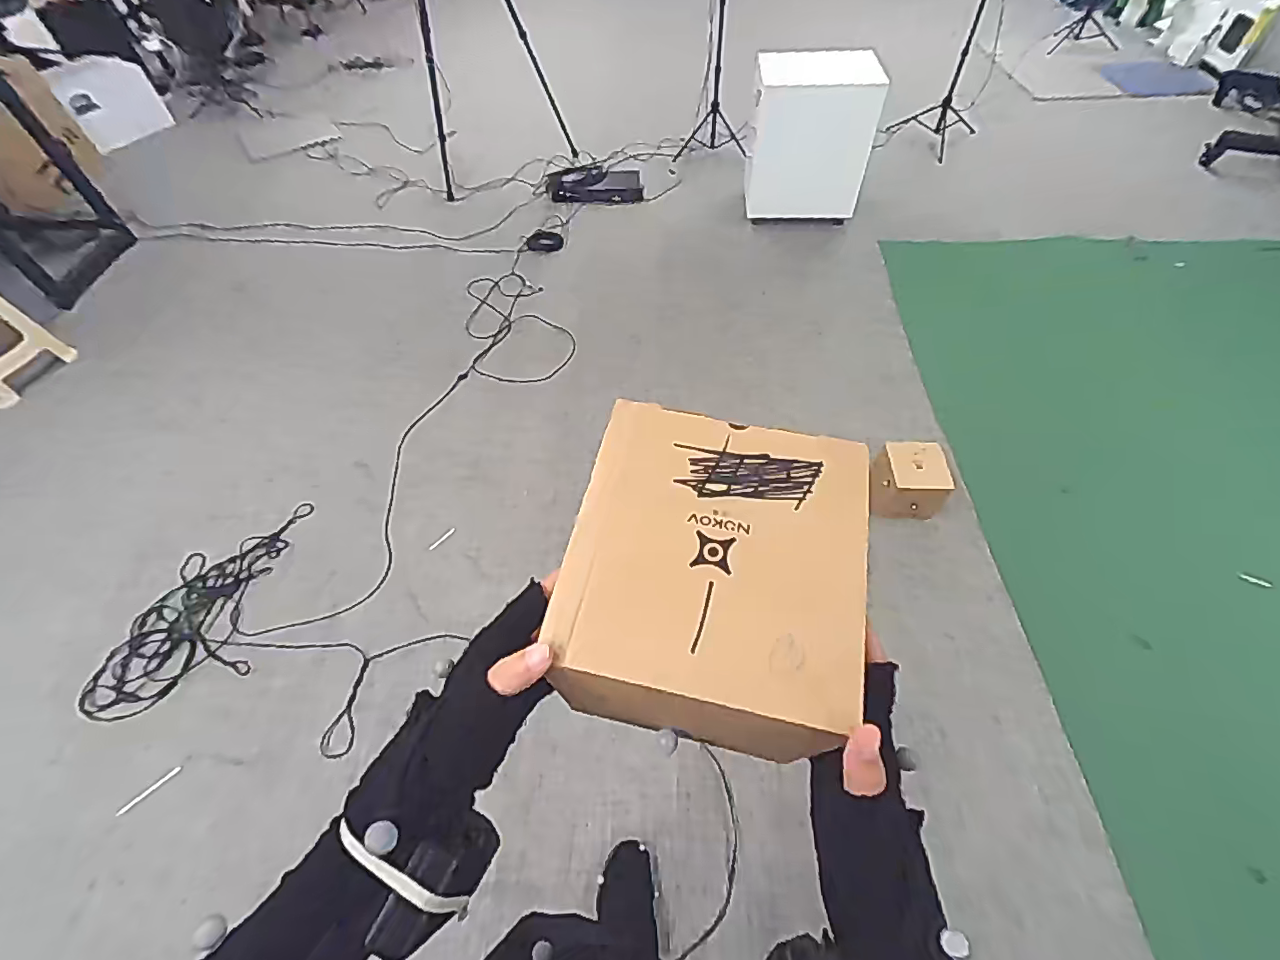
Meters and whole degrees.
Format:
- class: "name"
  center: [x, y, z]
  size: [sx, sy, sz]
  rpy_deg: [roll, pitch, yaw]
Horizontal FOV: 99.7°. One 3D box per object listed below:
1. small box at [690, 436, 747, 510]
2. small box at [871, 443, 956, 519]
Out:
- class: "small box"
  center: [0.243, -0.019, 1.700]
  size: [0.168, 0.176, 0.179]
  rpy_deg: [0, 54, 3]
- class: "small box"
  center: [0.831, 0.007, 1.660]
  size: [0.168, 0.176, 0.179]
  rpy_deg: [2, 54, 2]
